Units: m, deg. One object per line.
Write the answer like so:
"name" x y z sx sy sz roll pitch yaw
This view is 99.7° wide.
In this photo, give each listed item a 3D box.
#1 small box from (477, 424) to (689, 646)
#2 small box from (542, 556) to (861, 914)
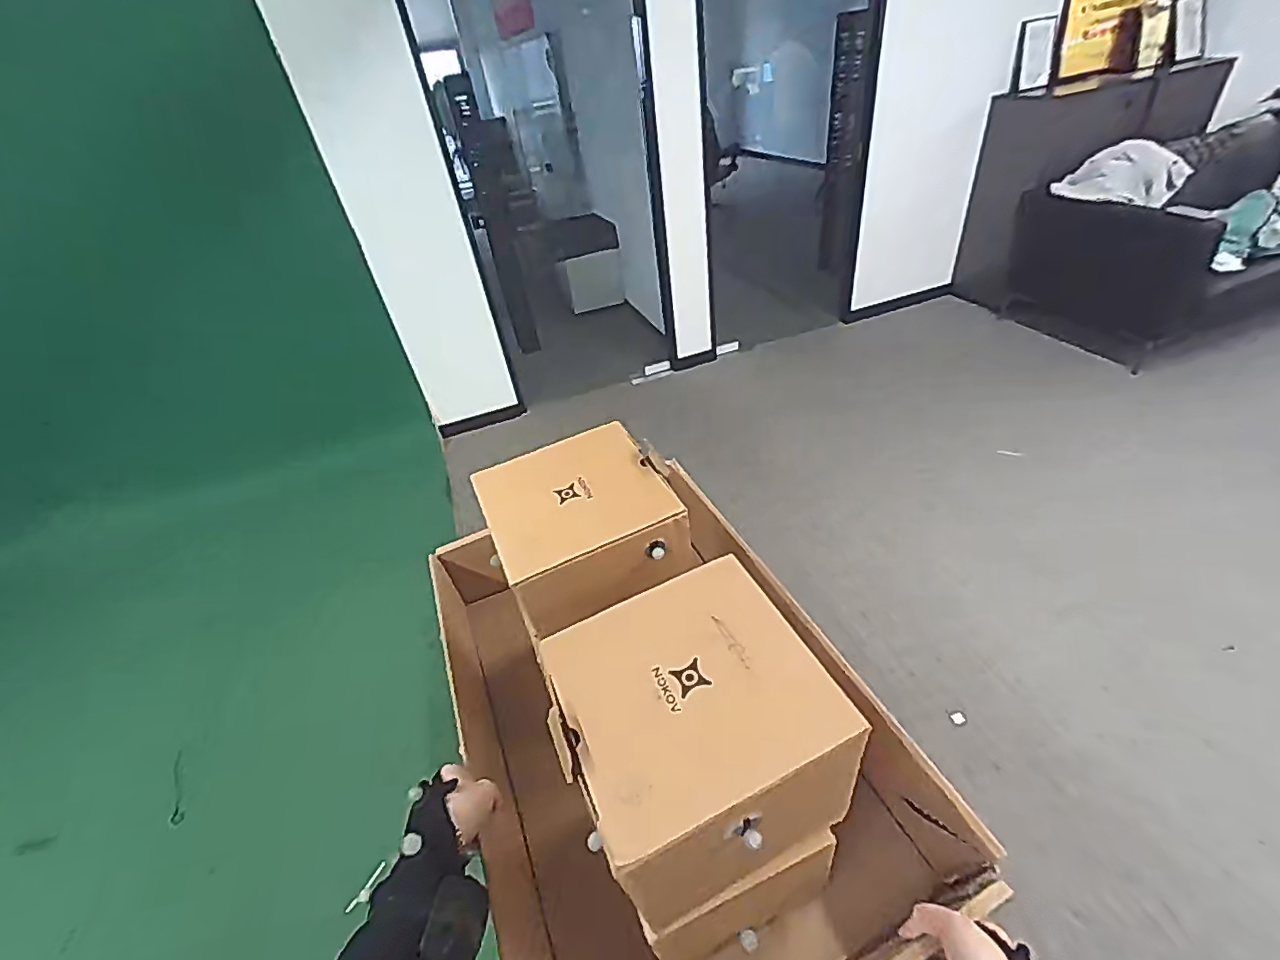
"small box" -0.055 0.072 0.596 0.179 0.176 0.168 -22 44 -14
"small box" 0.045 0.199 0.430 0.179 0.176 0.168 -22 42 -13
